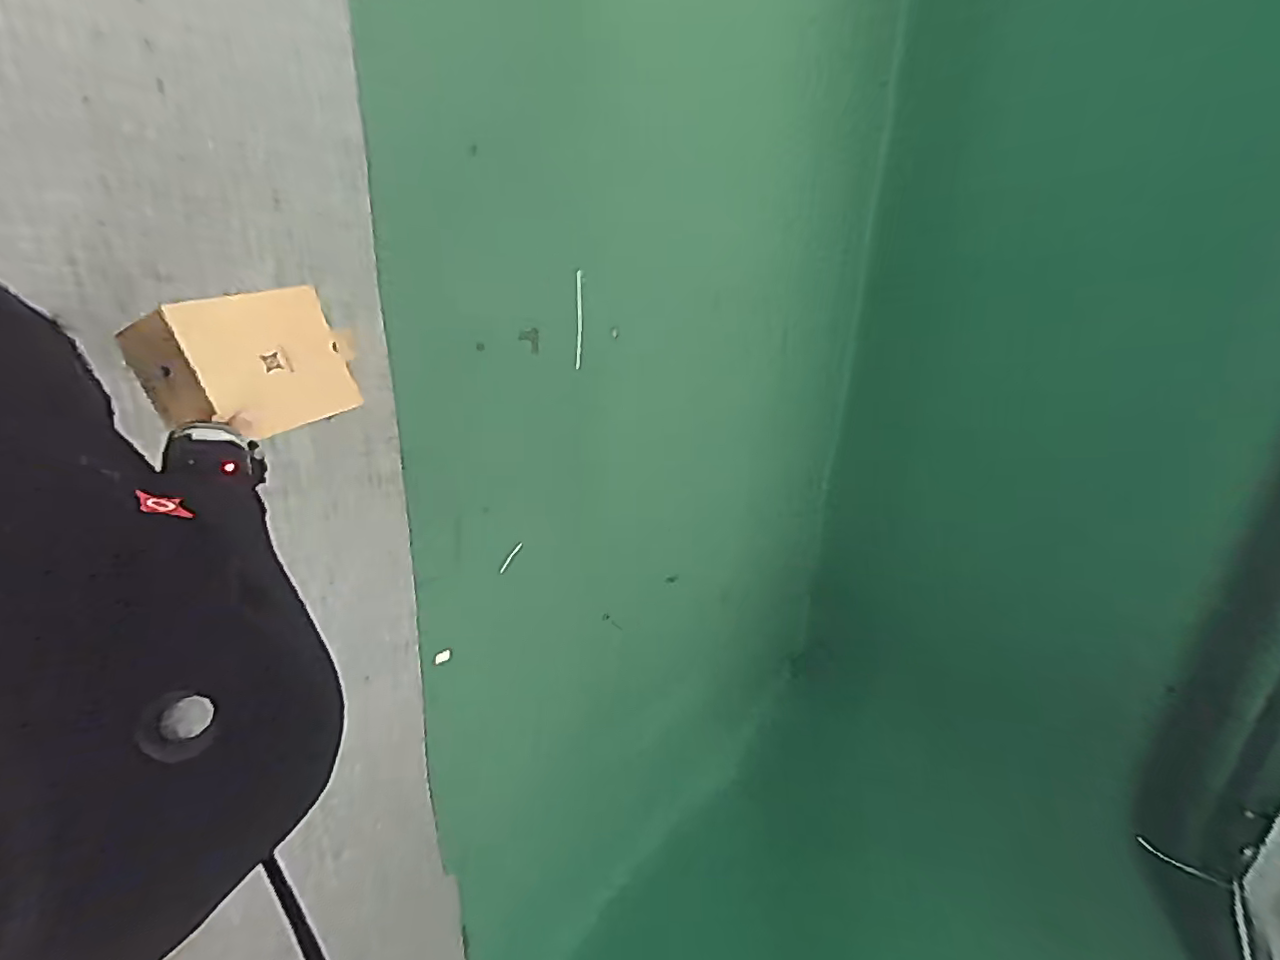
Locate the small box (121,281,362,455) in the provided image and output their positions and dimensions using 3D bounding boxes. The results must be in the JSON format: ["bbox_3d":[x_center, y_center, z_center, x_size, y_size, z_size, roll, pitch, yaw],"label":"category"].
[{"bbox_3d":[-0.513,-0.142,0.697,0.179,0.176,0.168,-43,121,-52],"label":"small box"}]
